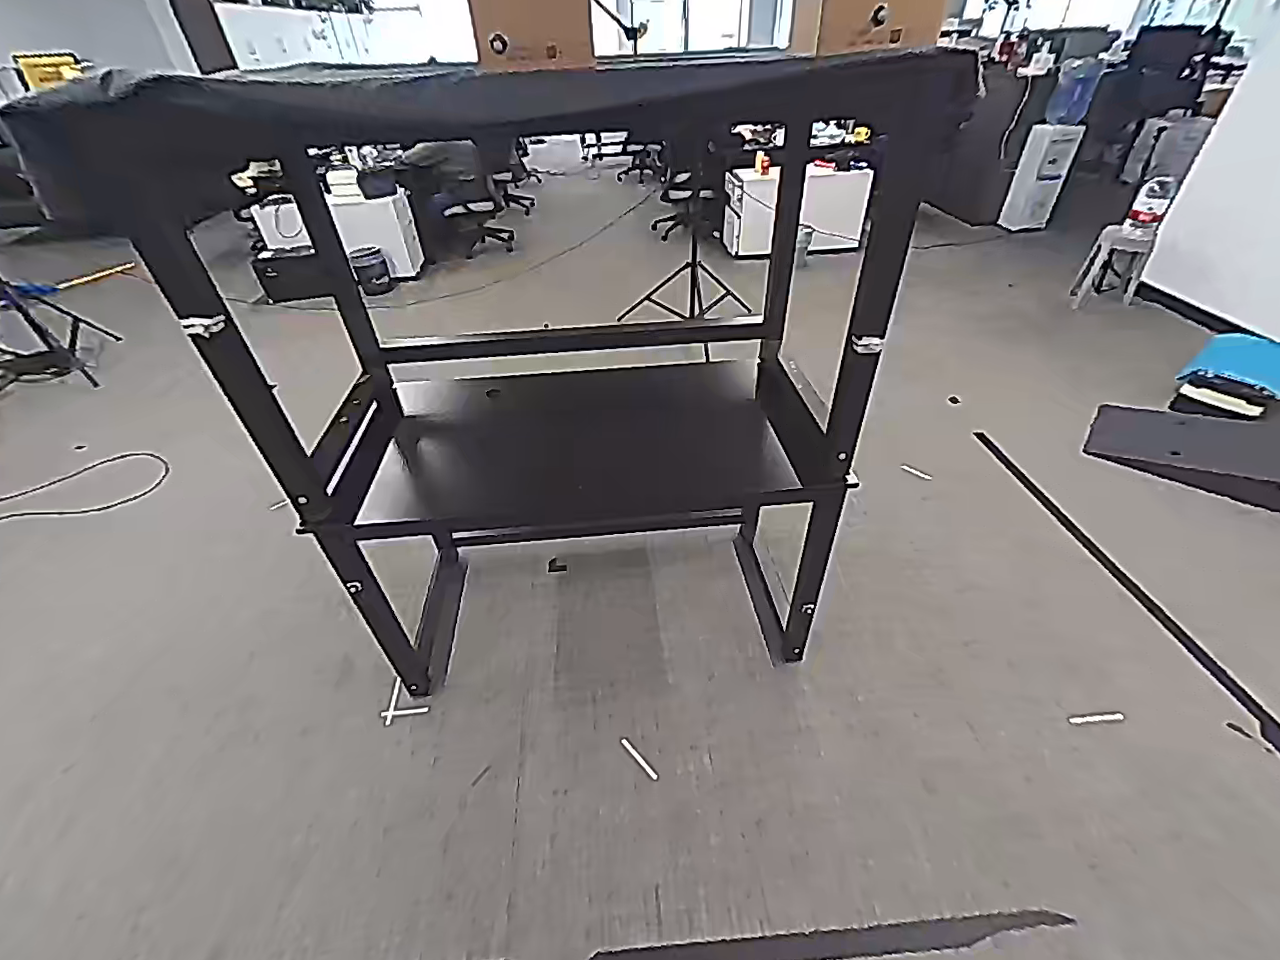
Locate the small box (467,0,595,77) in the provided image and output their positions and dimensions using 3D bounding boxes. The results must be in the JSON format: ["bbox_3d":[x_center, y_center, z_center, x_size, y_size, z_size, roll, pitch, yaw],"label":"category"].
[{"bbox_3d":[-0.155,-0.691,0.778,0.168,0.176,0.179,-5,38,-3],"label":"small box"}]
